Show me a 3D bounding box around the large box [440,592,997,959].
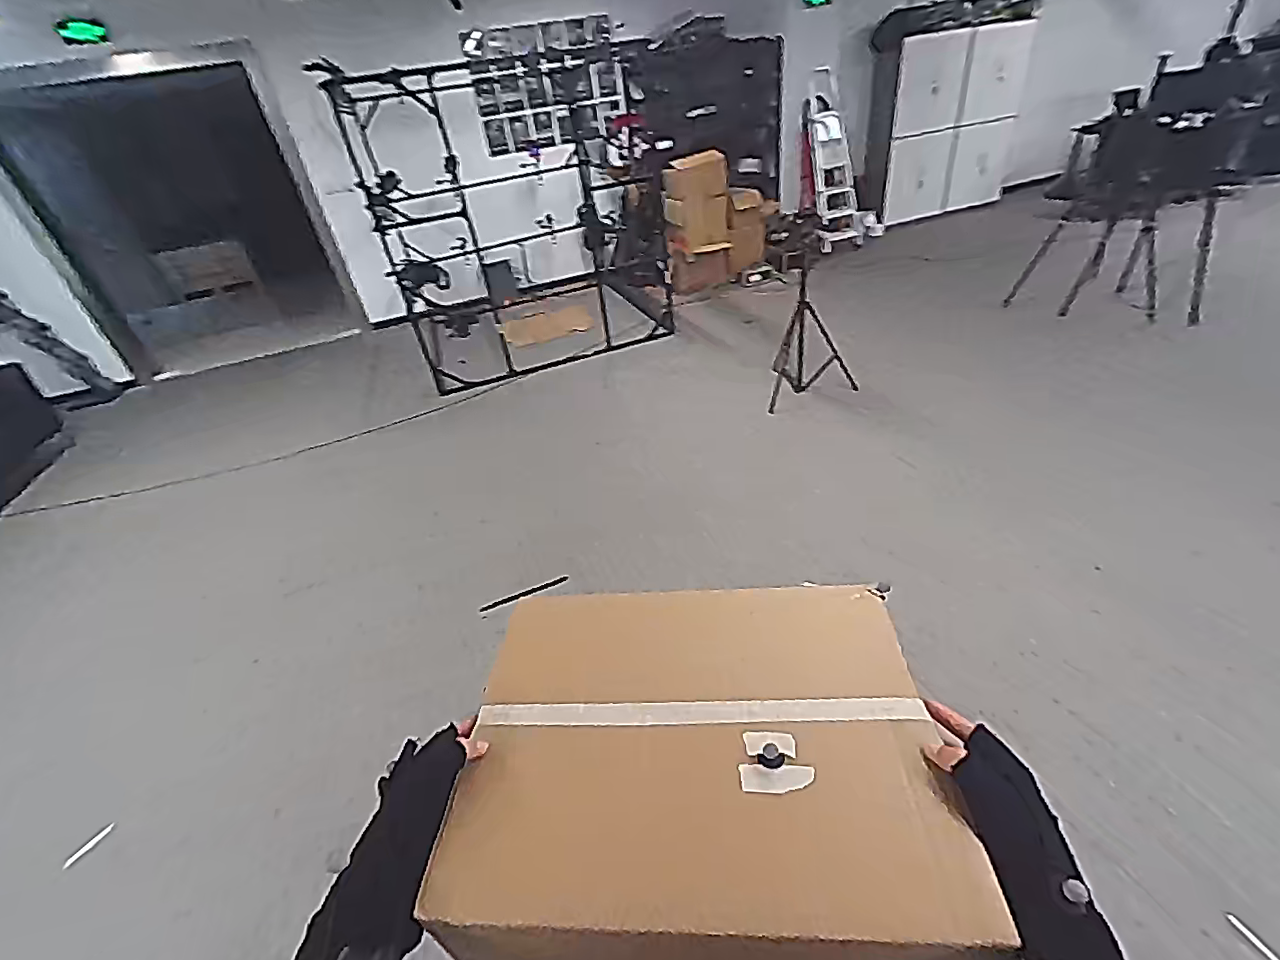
[{"bbox_3d":[0.070,0.344,0.584,0.408,0.320,0.320,-3,34,8],"label":"large box"}]
